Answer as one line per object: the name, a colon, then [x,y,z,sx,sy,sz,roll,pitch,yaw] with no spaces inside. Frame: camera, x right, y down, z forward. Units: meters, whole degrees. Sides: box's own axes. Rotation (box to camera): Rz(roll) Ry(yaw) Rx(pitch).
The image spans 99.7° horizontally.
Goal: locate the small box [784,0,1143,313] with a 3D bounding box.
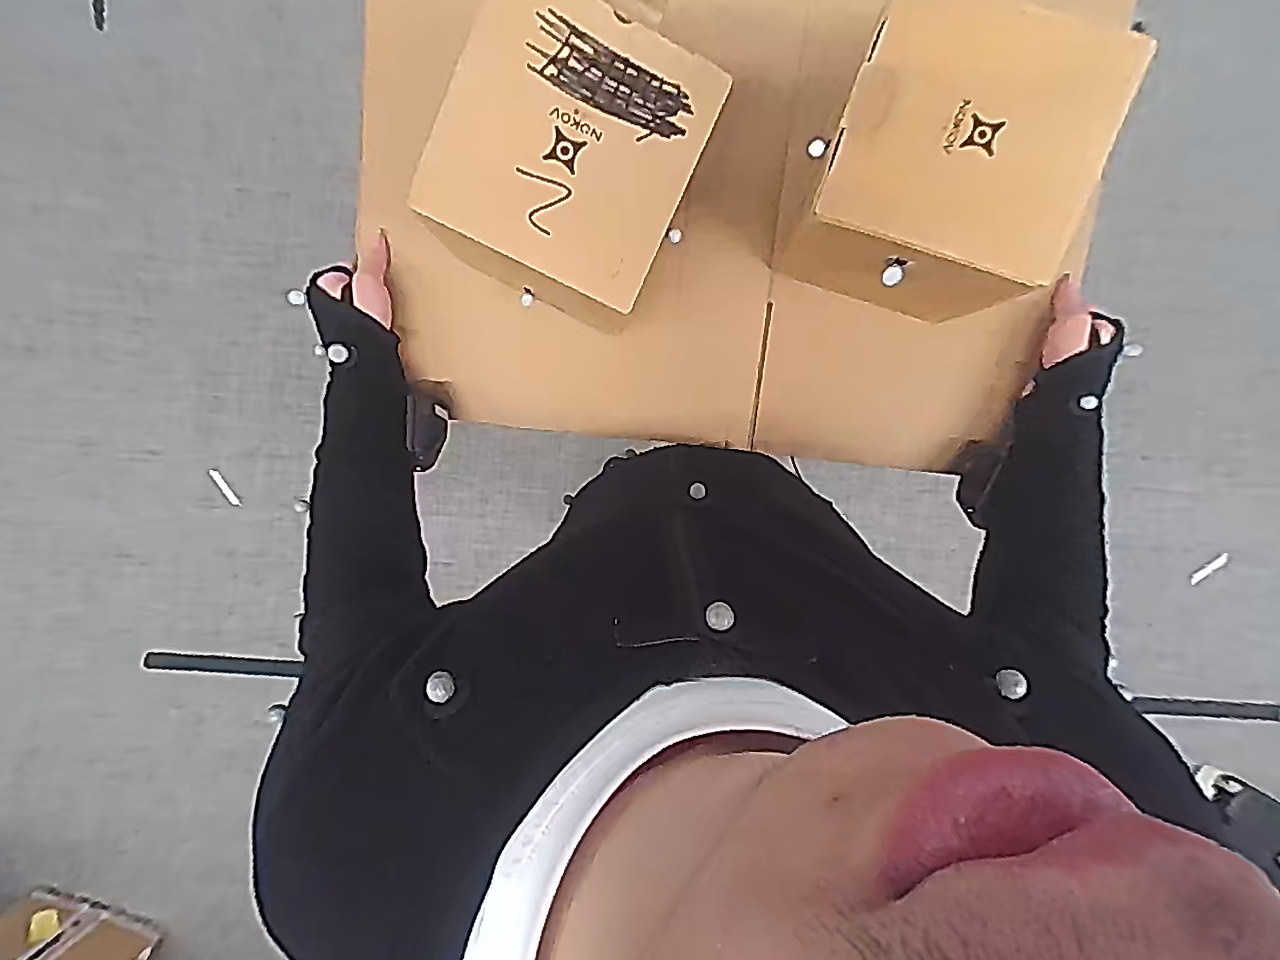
small box: [0.242,-0.253,0.460,0.179,0.176,0.168,20,99,4]
